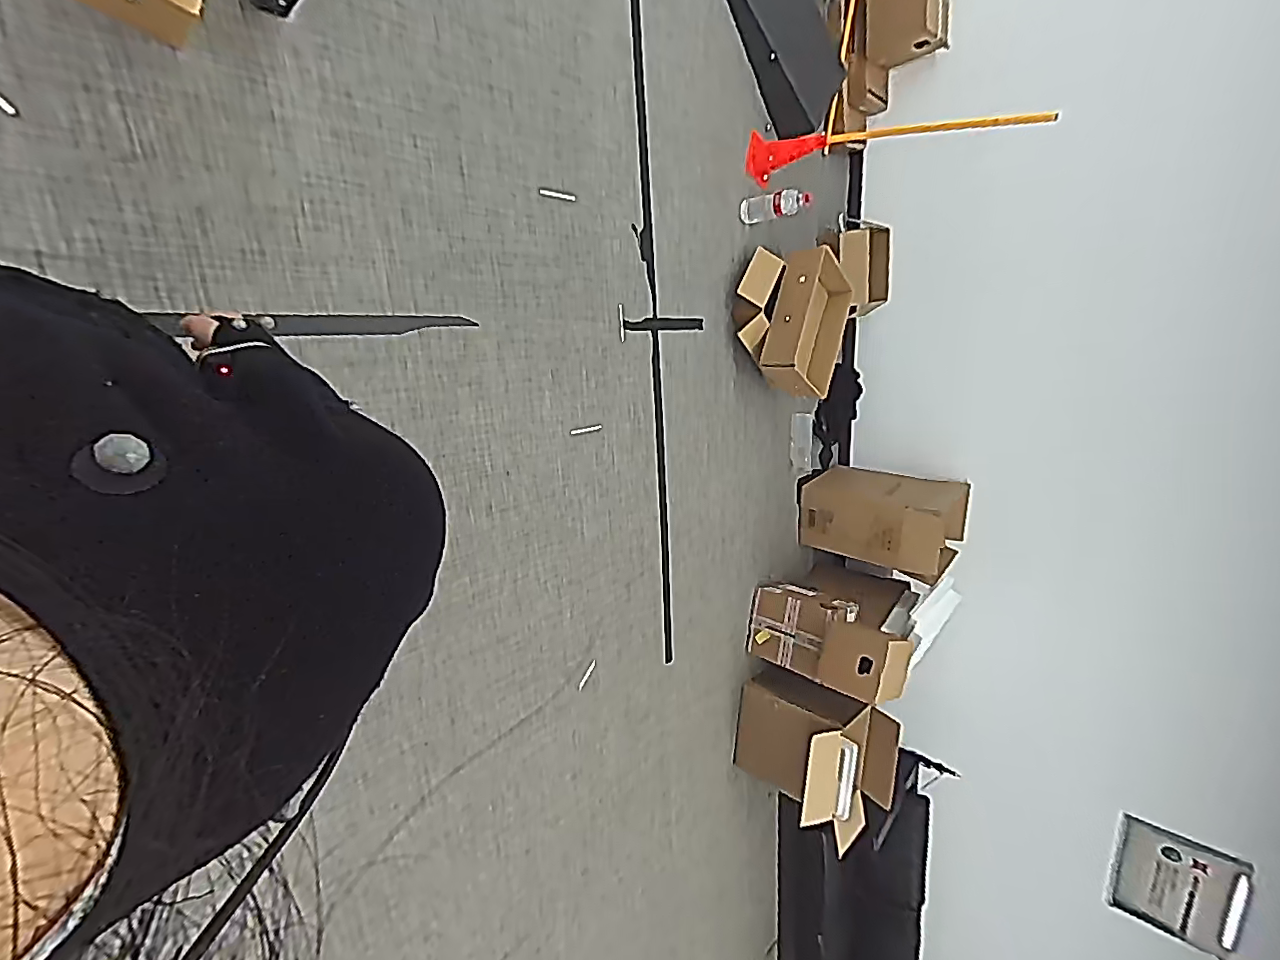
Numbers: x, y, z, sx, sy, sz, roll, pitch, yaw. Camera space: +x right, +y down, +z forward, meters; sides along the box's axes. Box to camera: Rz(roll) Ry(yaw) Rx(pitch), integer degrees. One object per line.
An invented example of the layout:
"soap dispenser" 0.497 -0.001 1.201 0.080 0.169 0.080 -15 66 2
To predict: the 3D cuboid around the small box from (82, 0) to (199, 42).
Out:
"small box" -0.917 -0.943 0.976 0.179 0.176 0.168 6 94 -47
